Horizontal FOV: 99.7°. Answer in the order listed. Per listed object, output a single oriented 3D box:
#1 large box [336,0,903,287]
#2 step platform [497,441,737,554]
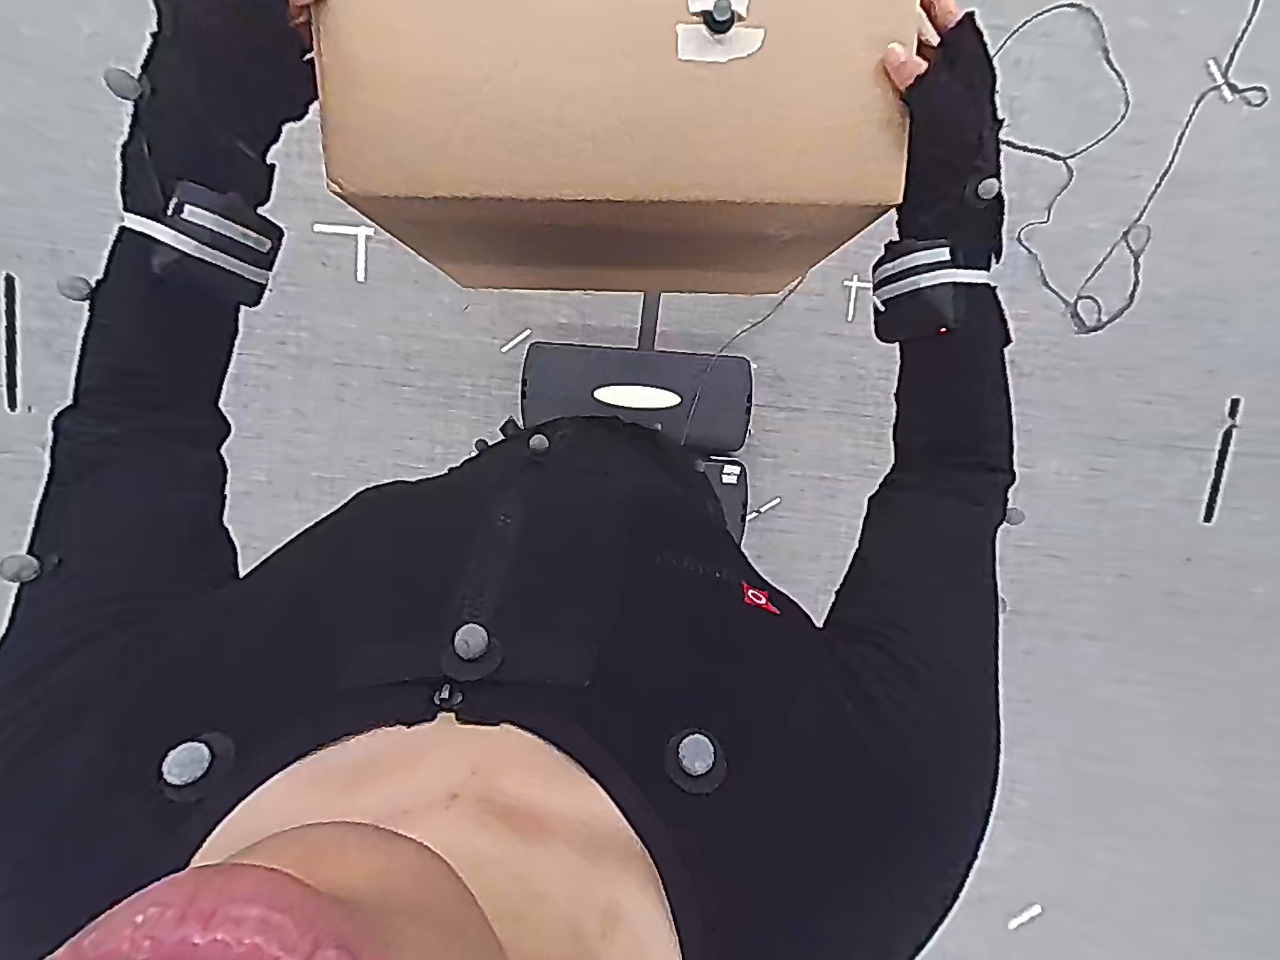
[{"bbox_3d":[-0.017,-0.379,0.521,0.408,0.320,0.320,0,98,-2],"label":"large box"},{"bbox_3d":[-0.063,0.048,1.576,0.684,0.204,0.286,4,95,-1],"label":"step platform"}]
